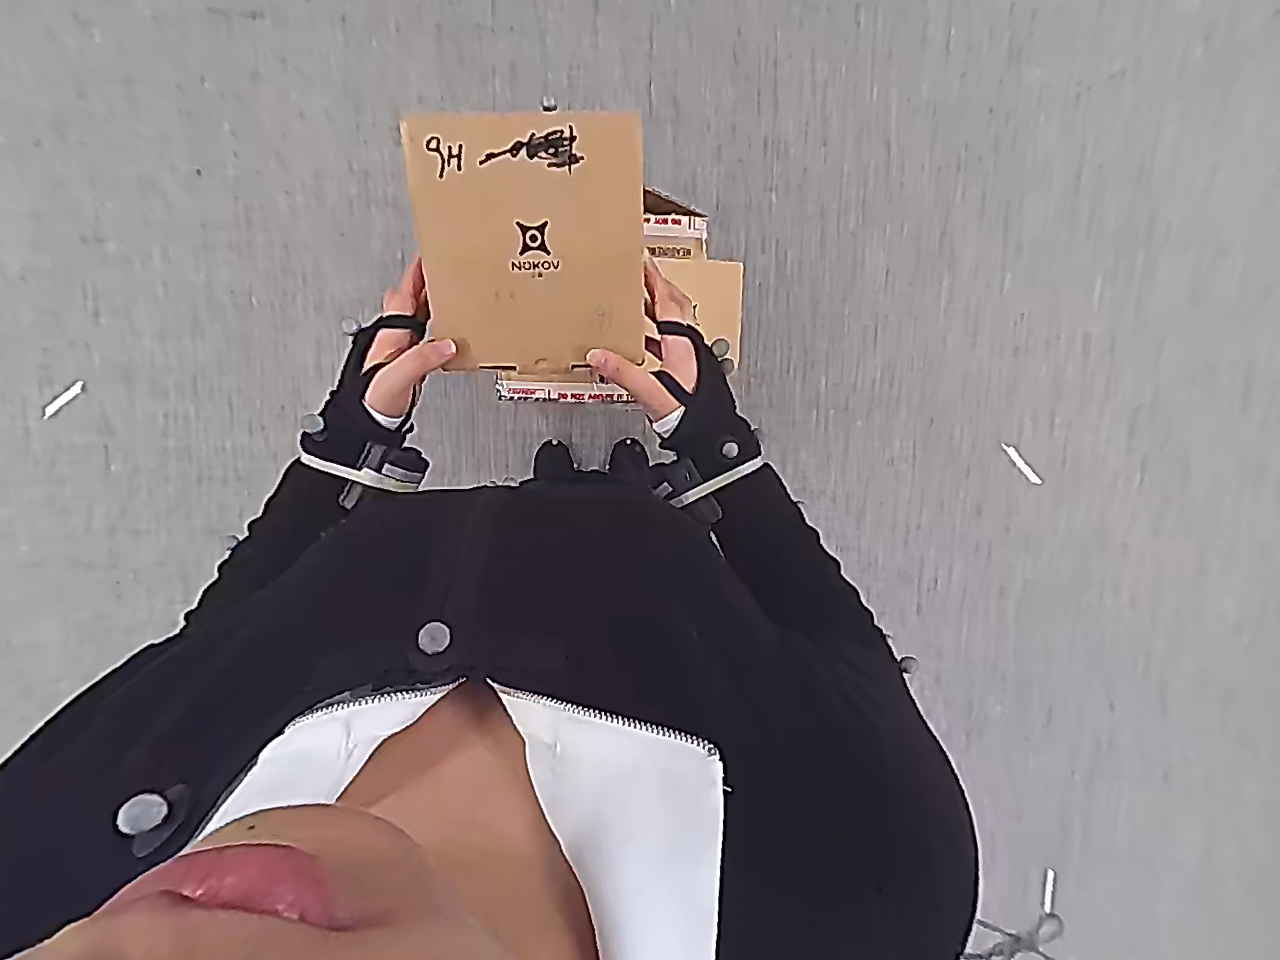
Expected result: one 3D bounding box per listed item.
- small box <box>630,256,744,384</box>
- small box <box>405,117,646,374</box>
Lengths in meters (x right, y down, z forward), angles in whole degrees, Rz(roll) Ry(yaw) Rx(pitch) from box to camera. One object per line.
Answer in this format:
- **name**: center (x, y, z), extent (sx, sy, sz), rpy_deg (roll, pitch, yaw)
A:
- **small box**: center (0.070, -0.259, 0.910), extent (0.168, 0.176, 0.179), rpy_deg (1, 97, -4)
- **small box**: center (-0.080, -0.202, 0.474), extent (0.168, 0.176, 0.179), rpy_deg (-3, 116, -2)
